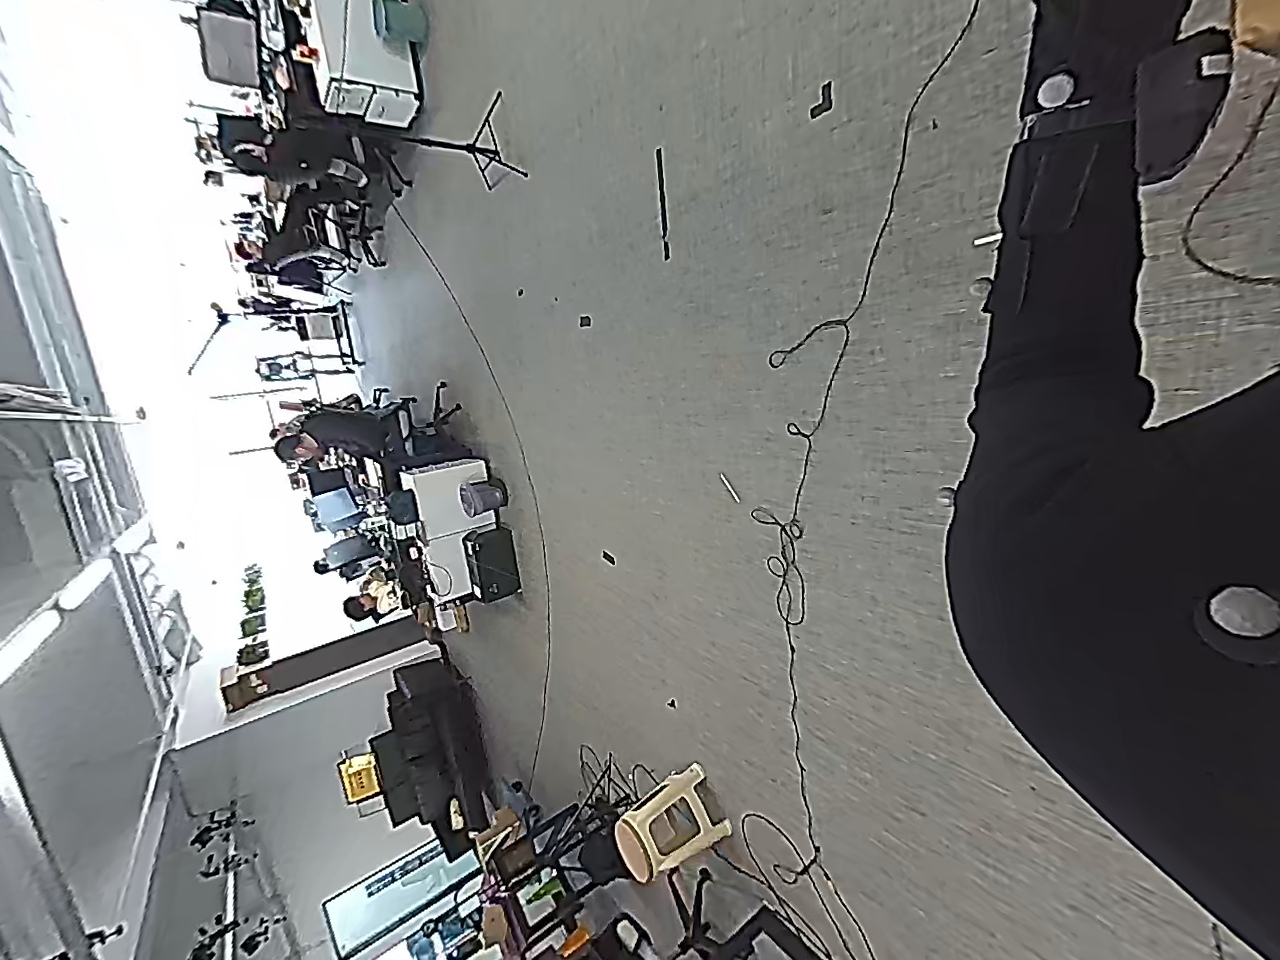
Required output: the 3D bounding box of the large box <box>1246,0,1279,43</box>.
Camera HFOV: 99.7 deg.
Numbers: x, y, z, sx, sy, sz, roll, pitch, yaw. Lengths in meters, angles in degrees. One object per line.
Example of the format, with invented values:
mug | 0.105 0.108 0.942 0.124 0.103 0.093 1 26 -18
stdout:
large box | 0.490 -0.398 0.148 0.408 0.320 0.320 8 117 54
